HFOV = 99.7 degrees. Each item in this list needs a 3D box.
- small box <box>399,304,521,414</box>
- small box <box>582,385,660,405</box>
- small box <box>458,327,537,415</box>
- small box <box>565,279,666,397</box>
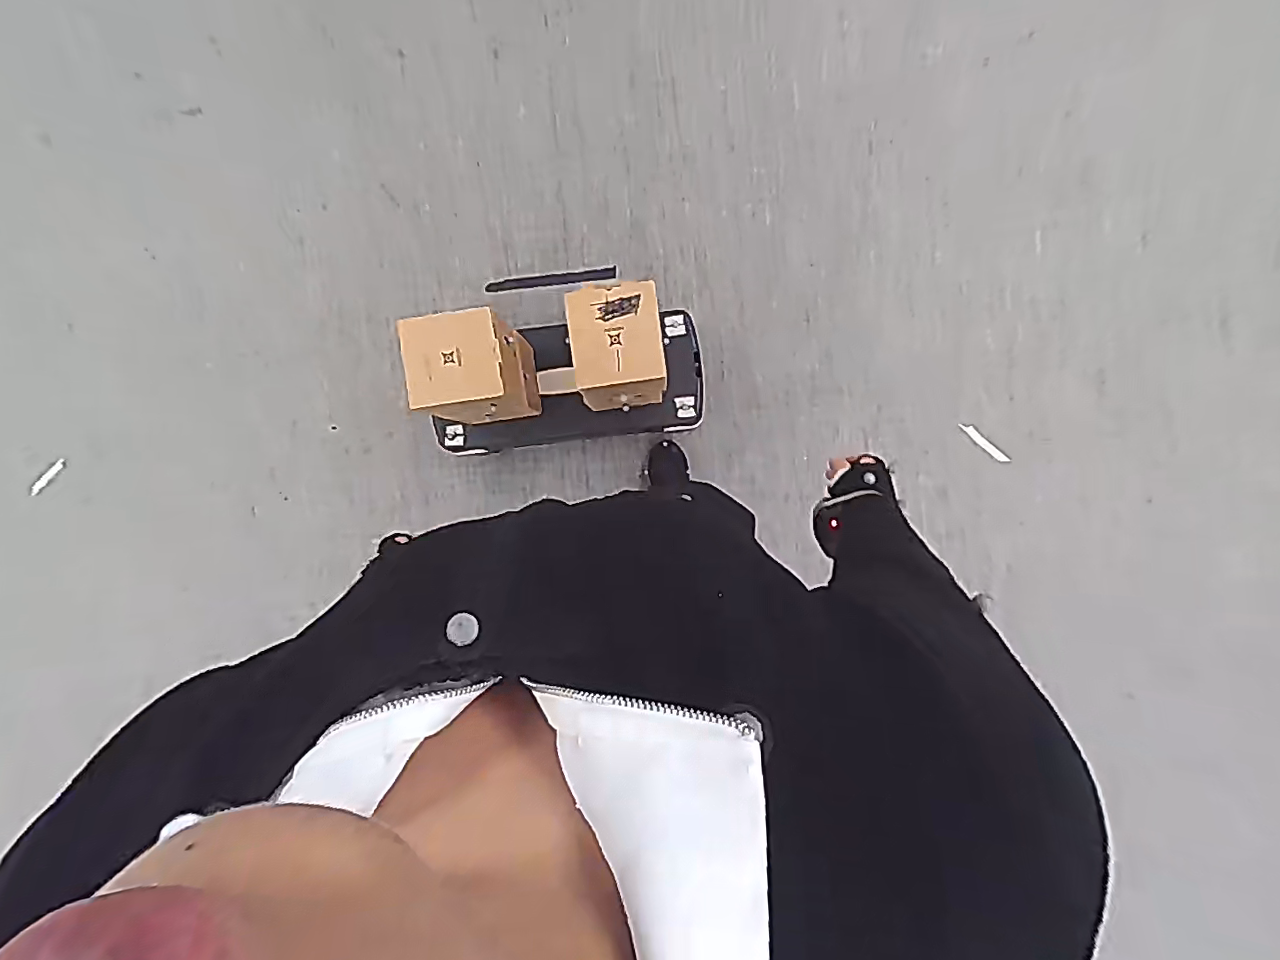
[{"bbox_3d":[-0.339,-0.228,1.058,0.179,0.176,0.168,-9,90,2],"label":"small box"},{"bbox_3d":[-0.047,-0.267,1.213,0.168,0.176,0.179,-7,92,3],"label":"small box"},{"bbox_3d":[-0.335,-0.233,1.223,0.179,0.176,0.168,-8,92,0],"label":"small box"},{"bbox_3d":[-0.043,-0.267,1.048,0.168,0.176,0.179,-8,92,2],"label":"small box"}]
